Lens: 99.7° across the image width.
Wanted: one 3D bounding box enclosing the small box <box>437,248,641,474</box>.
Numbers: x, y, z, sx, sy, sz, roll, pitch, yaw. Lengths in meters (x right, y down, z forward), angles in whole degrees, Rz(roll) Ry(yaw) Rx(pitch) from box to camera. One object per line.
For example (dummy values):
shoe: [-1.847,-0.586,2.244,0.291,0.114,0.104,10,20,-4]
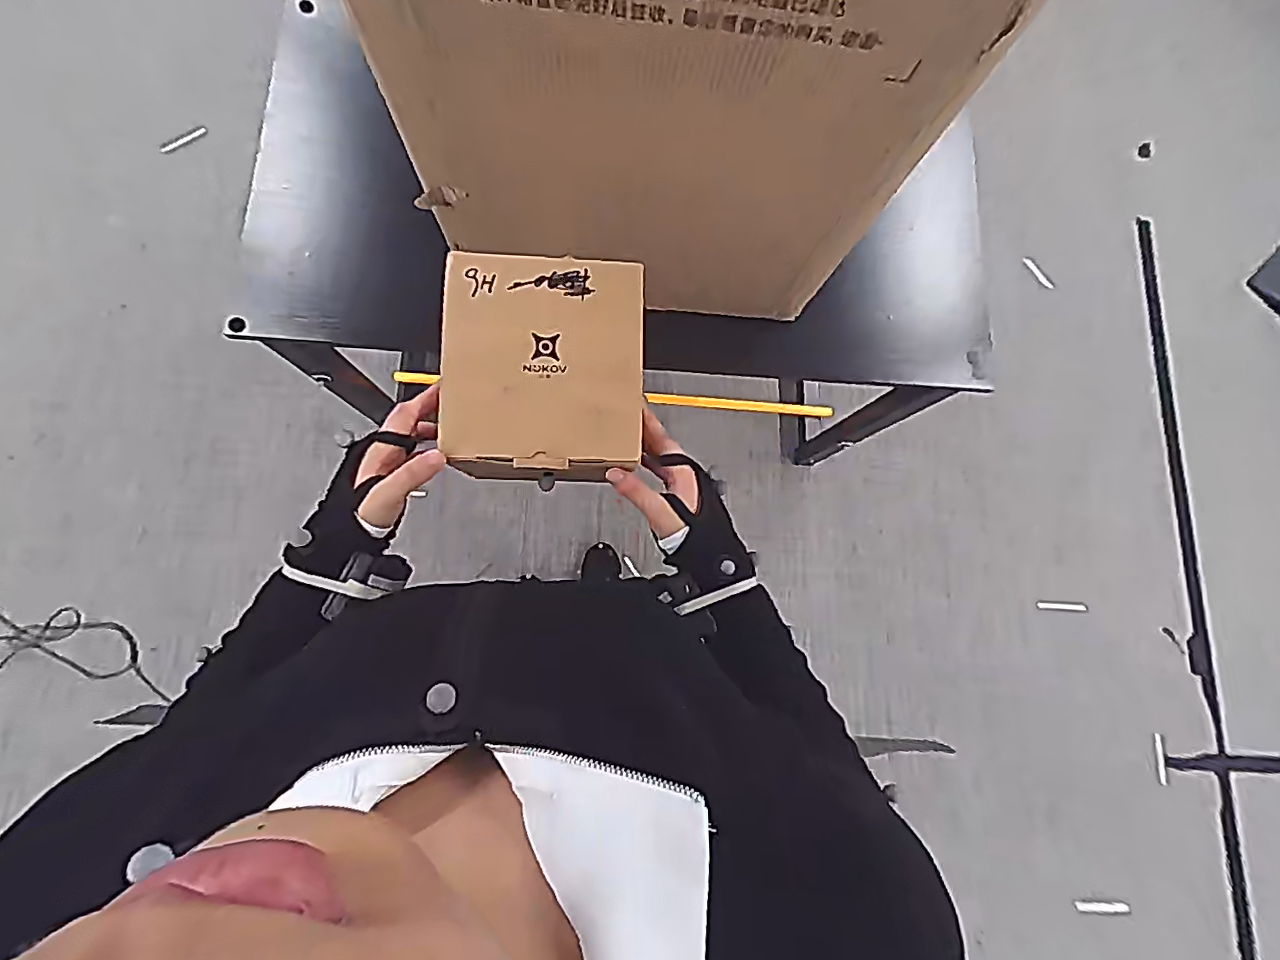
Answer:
small box: [-0.089,-0.098,0.524,0.168,0.176,0.179,1,86,-7]
